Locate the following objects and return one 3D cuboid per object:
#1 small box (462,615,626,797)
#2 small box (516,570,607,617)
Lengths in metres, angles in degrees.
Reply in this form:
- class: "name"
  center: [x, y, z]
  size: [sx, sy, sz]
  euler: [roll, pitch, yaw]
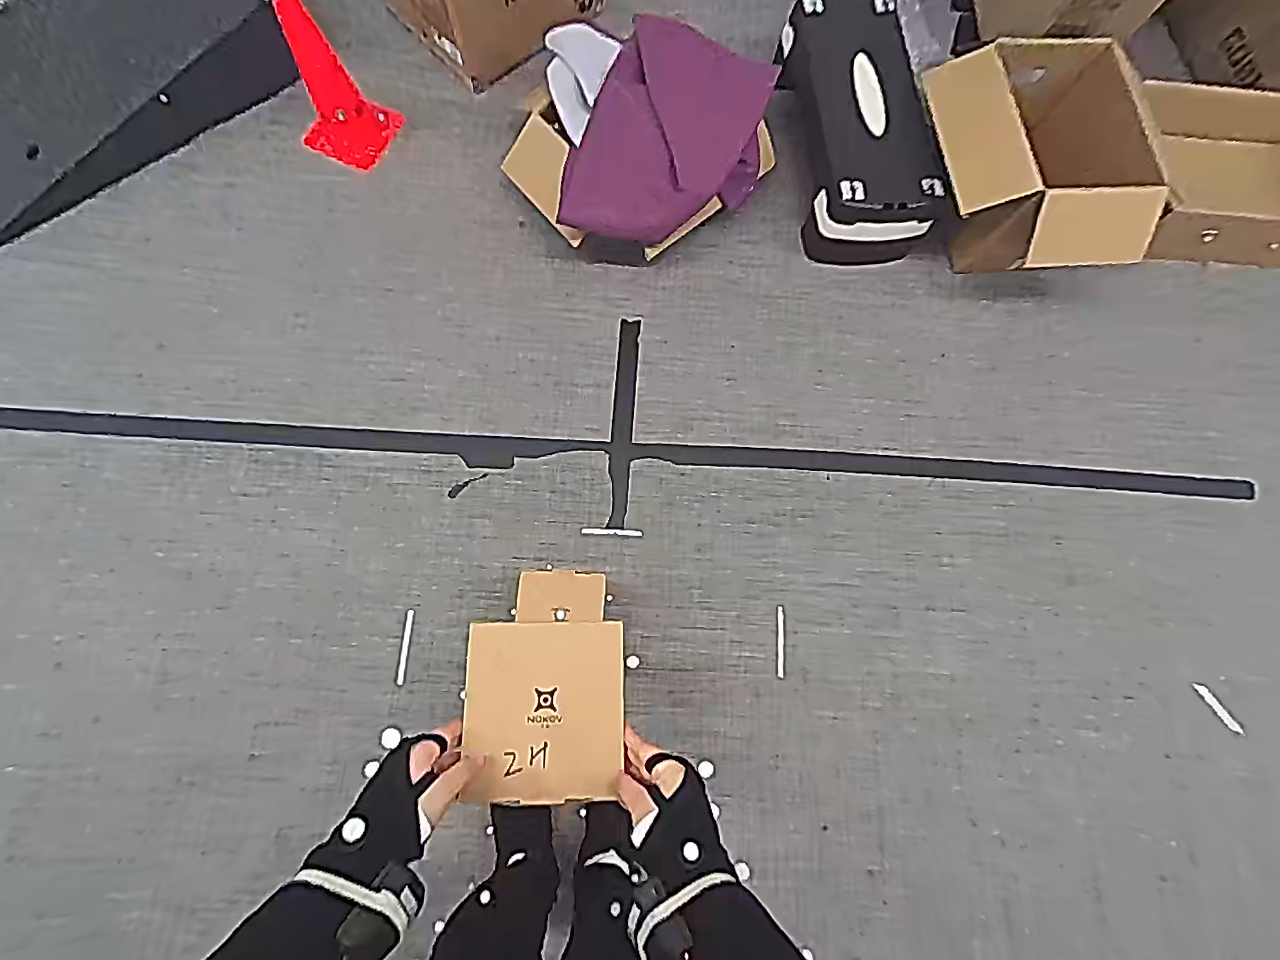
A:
- class: "small box"
  center: [-0.100, 0.254, 0.641]
  size: [0.168, 0.176, 0.179]
  euler: [-1, 75, -2]
- class: "small box"
  center: [-0.154, 0.279, 1.083]
  size: [0.168, 0.176, 0.179]
  euler: [4, 77, -2]
